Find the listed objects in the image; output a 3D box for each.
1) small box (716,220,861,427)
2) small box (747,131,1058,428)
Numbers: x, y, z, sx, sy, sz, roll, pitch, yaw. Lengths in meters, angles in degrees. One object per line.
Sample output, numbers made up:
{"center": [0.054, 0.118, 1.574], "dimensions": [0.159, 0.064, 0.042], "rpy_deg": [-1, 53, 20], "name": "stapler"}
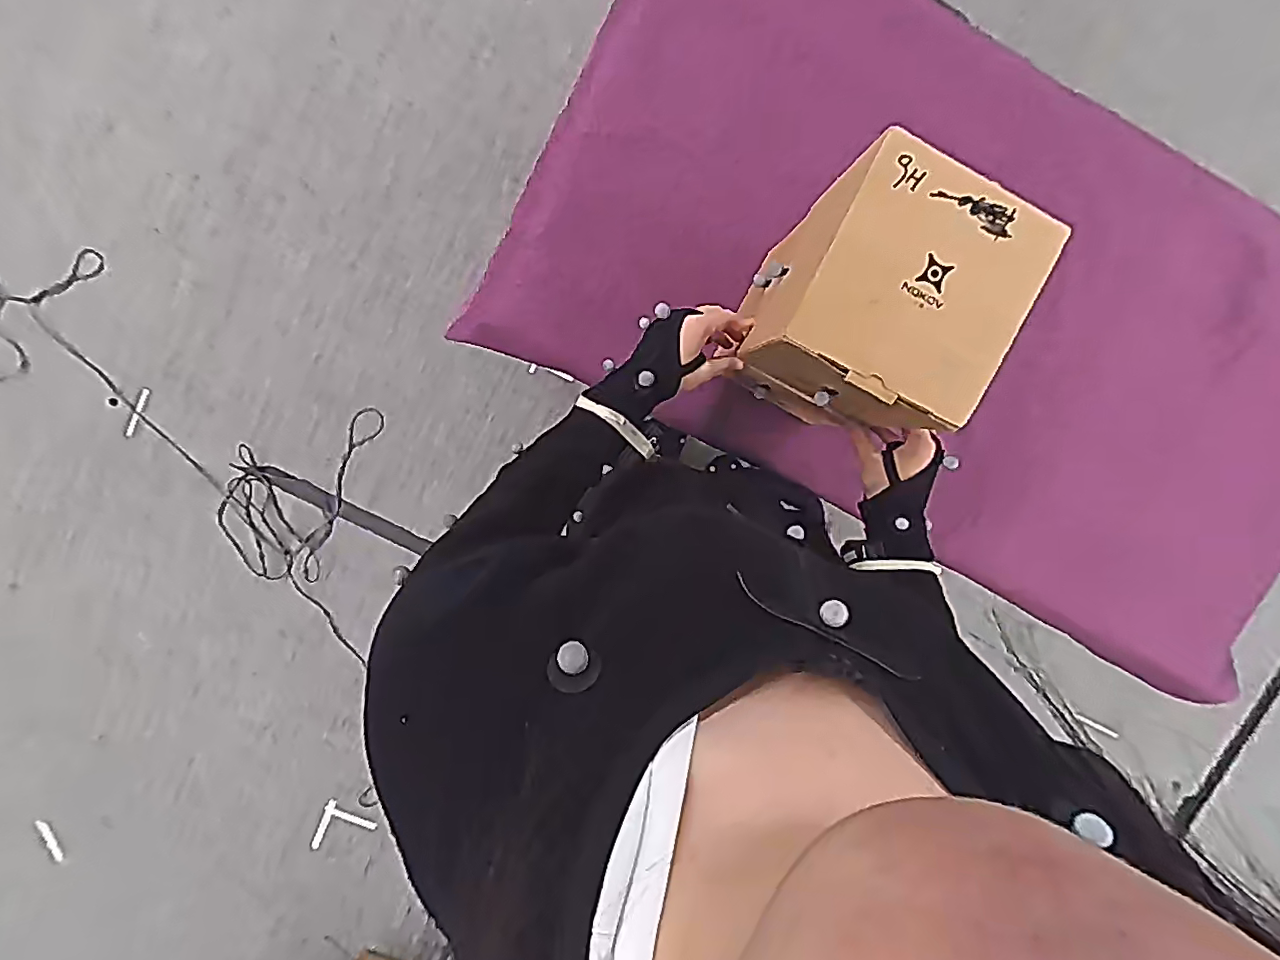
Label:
{"center": [0.208, -0.180, 0.667], "dimensions": [0.168, 0.176, 0.179], "rpy_deg": [28, 95, -6], "name": "small box"}
{"center": [0.216, -0.164, 0.503], "dimensions": [0.168, 0.176, 0.179], "rpy_deg": [26, 96, -6], "name": "small box"}
